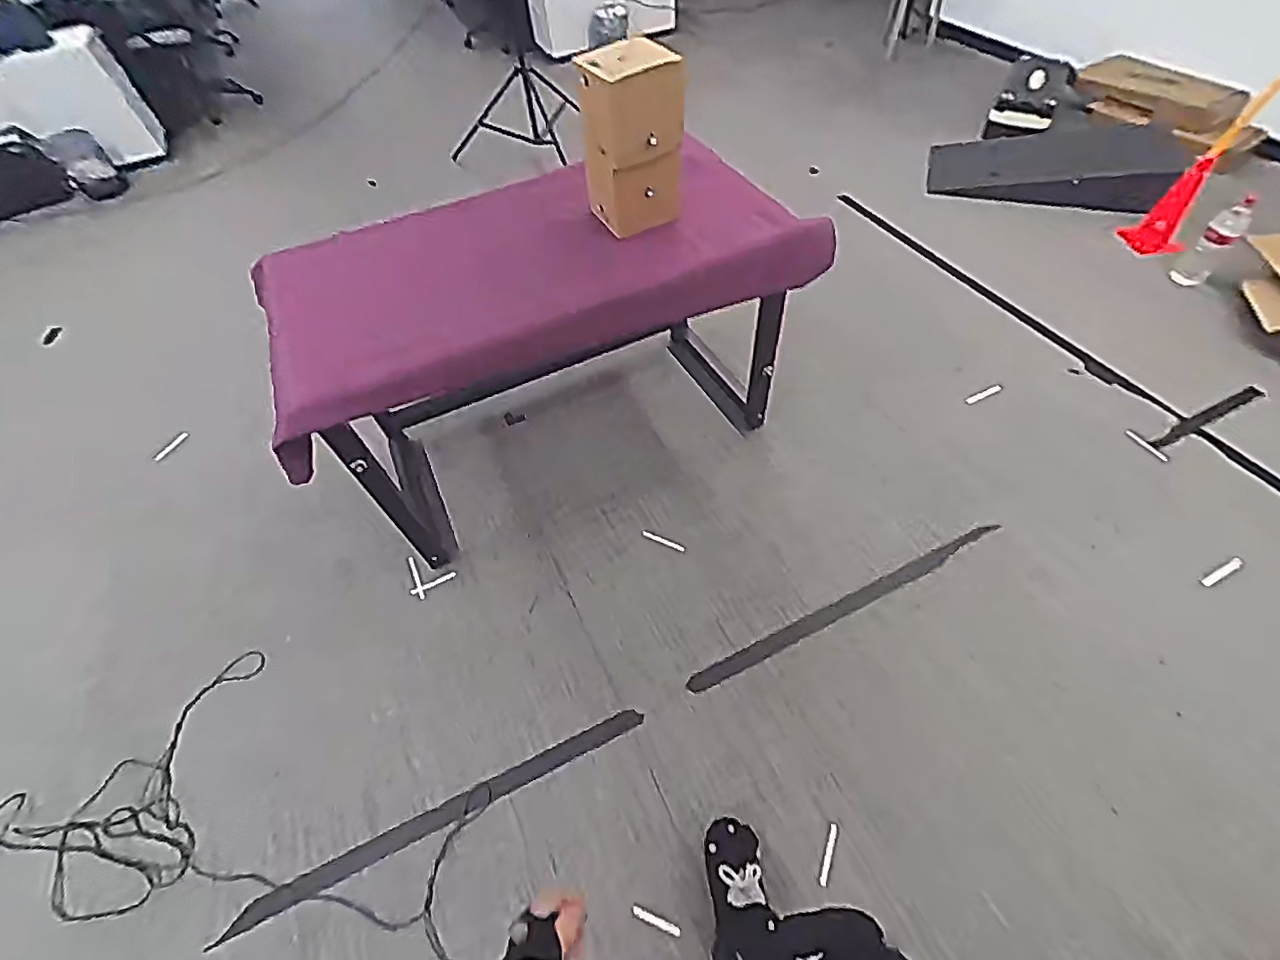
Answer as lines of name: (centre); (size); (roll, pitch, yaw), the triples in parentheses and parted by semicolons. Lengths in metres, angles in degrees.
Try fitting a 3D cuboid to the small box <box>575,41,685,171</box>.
small box: (-0.020, -0.803, 1.165); (0.179, 0.176, 0.168); (-28, 57, -15)
